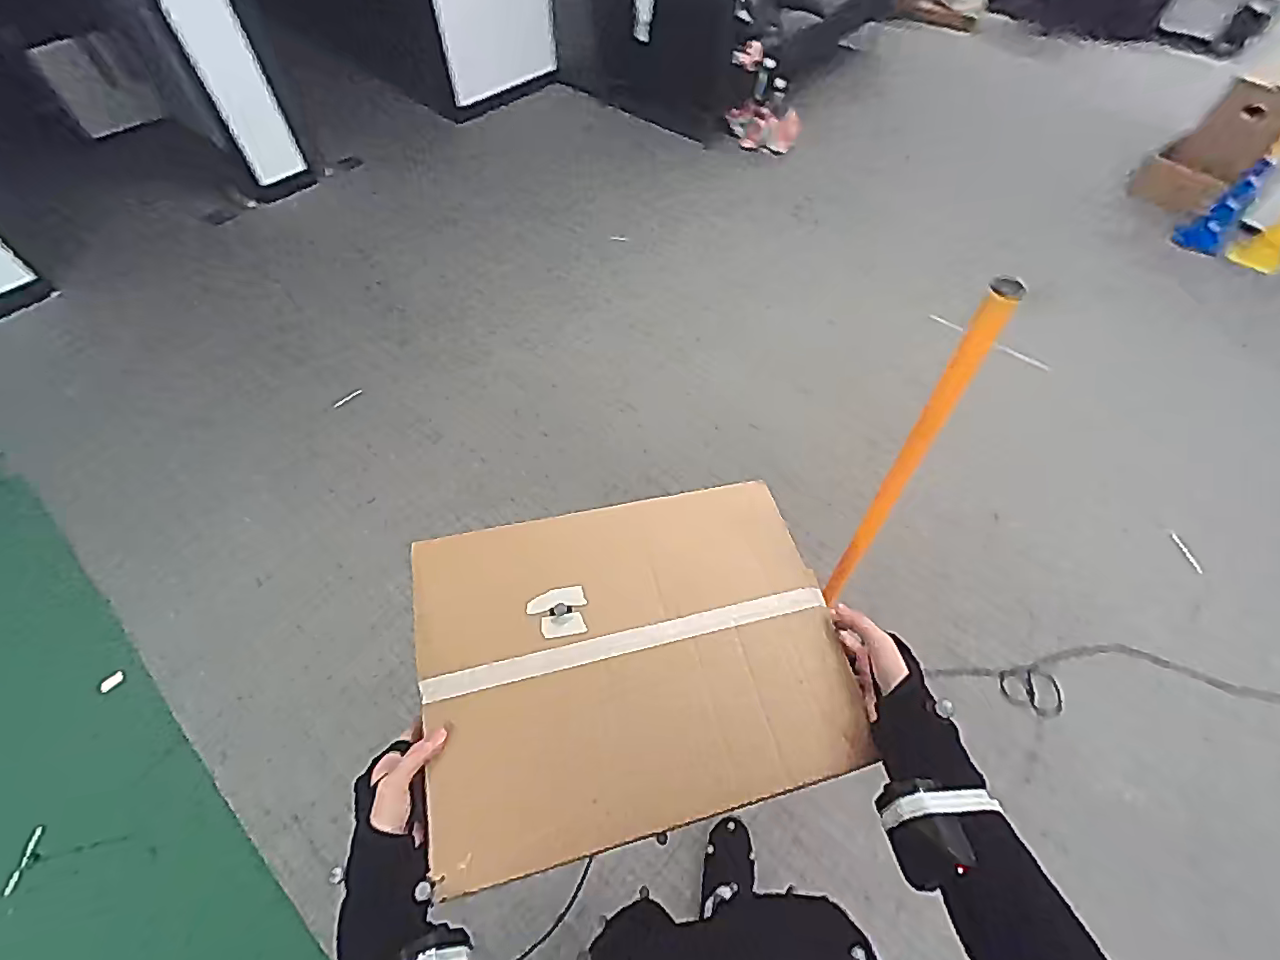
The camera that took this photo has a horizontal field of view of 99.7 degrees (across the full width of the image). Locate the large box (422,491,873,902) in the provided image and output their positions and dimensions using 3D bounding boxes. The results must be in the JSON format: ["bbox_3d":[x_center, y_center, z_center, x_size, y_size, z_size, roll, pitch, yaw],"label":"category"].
[{"bbox_3d":[-0.015,0.251,0.671,0.408,0.320,0.320,-10,59,-12],"label":"large box"}]
